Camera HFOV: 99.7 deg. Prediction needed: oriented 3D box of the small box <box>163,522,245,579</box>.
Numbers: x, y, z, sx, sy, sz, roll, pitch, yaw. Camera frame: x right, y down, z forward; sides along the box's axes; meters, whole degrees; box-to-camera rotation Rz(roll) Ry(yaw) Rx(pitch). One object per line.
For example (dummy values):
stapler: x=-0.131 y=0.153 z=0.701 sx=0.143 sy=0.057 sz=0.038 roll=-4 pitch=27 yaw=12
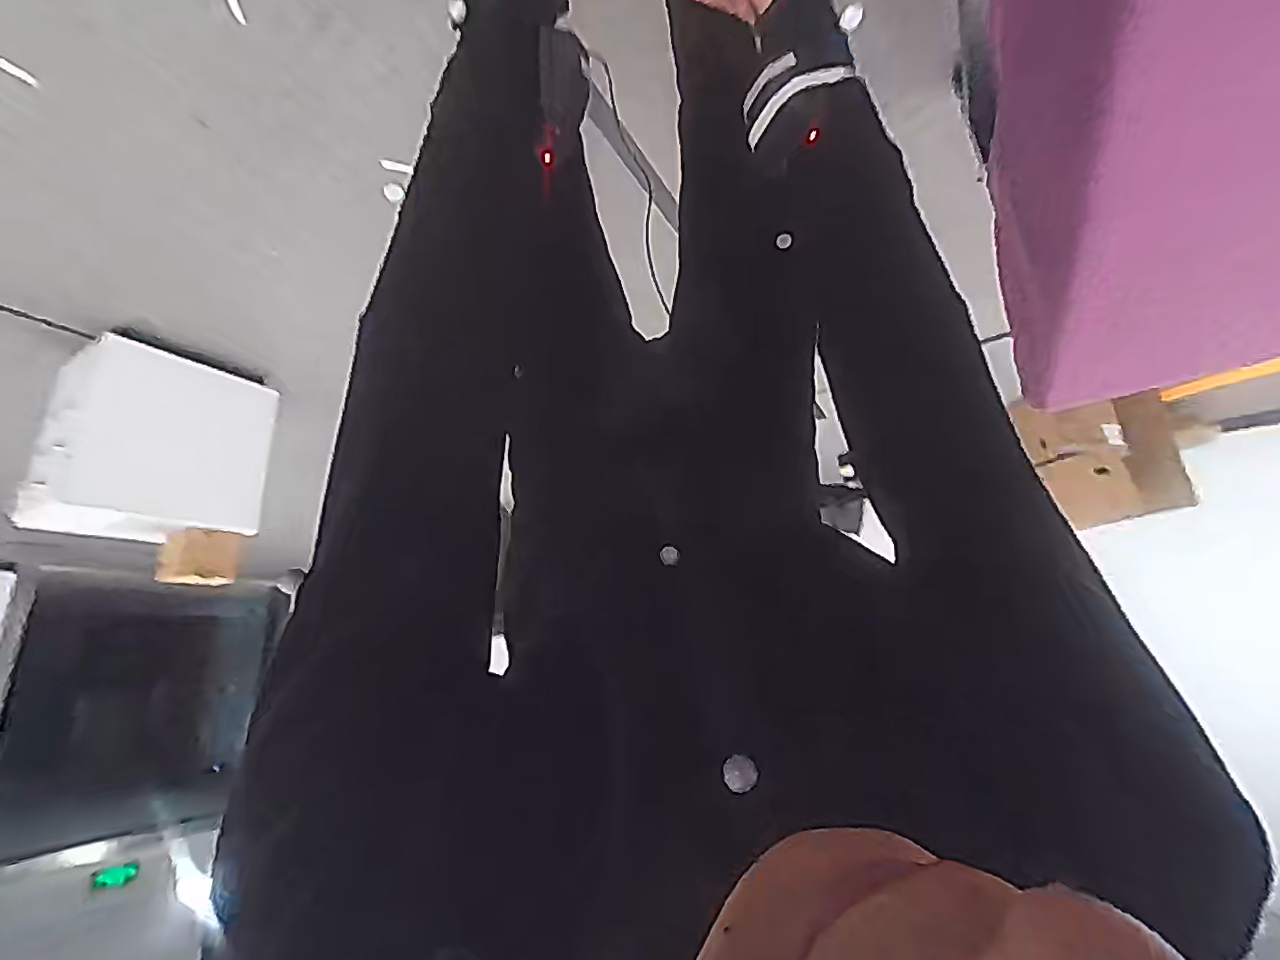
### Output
small box: x=-1.525 y=0.251 z=1.901 sx=0.179 sy=0.176 sz=0.168 roll=-13 pitch=161 yaw=30
